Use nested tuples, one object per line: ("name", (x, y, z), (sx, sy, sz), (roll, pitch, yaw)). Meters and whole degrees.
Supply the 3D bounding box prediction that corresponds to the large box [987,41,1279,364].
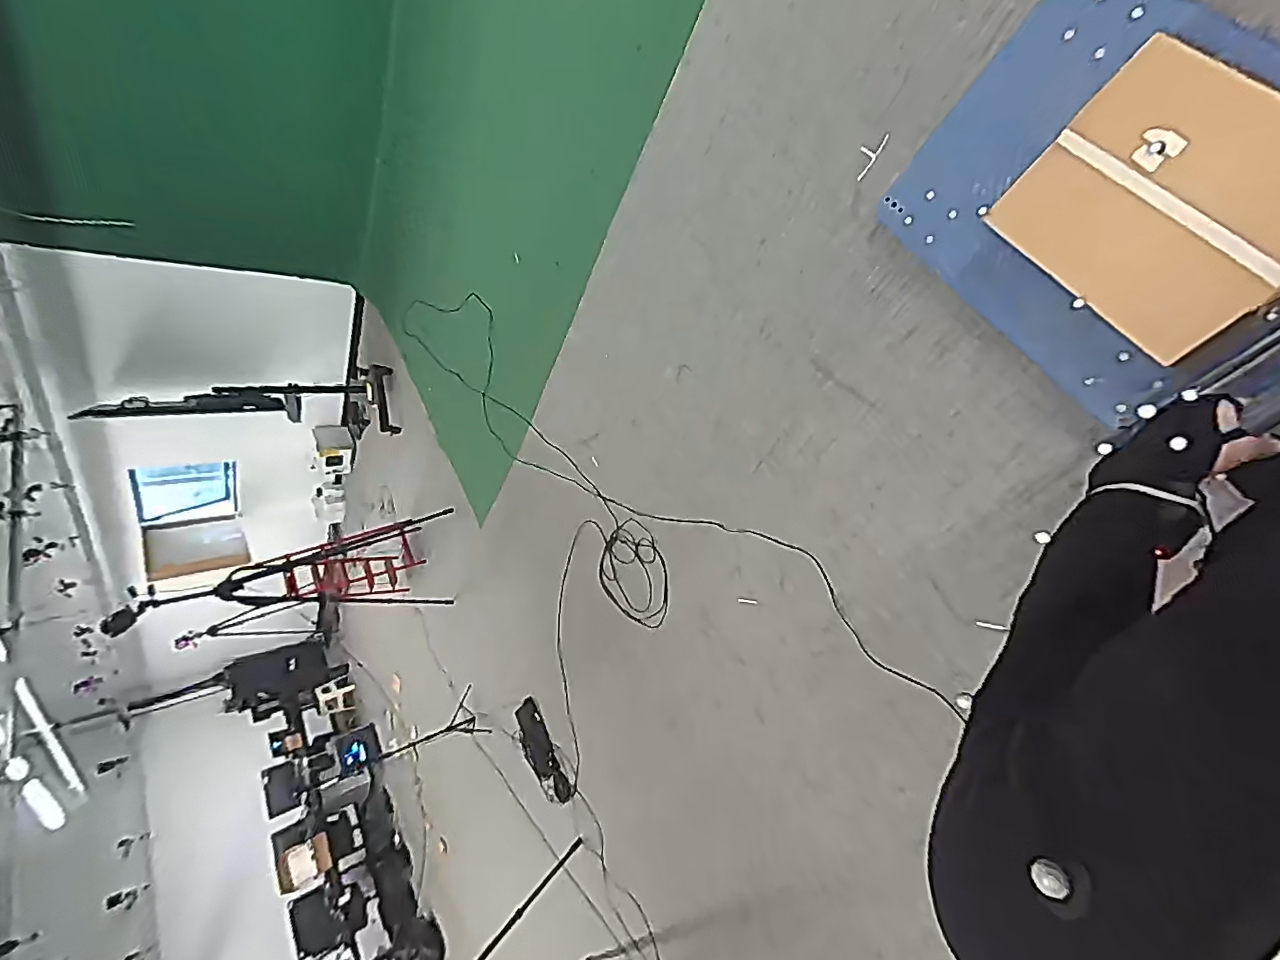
("large box", (0.933, -0.451, 0.944), (0.320, 0.320, 0.408), (-52, 57, 39))
